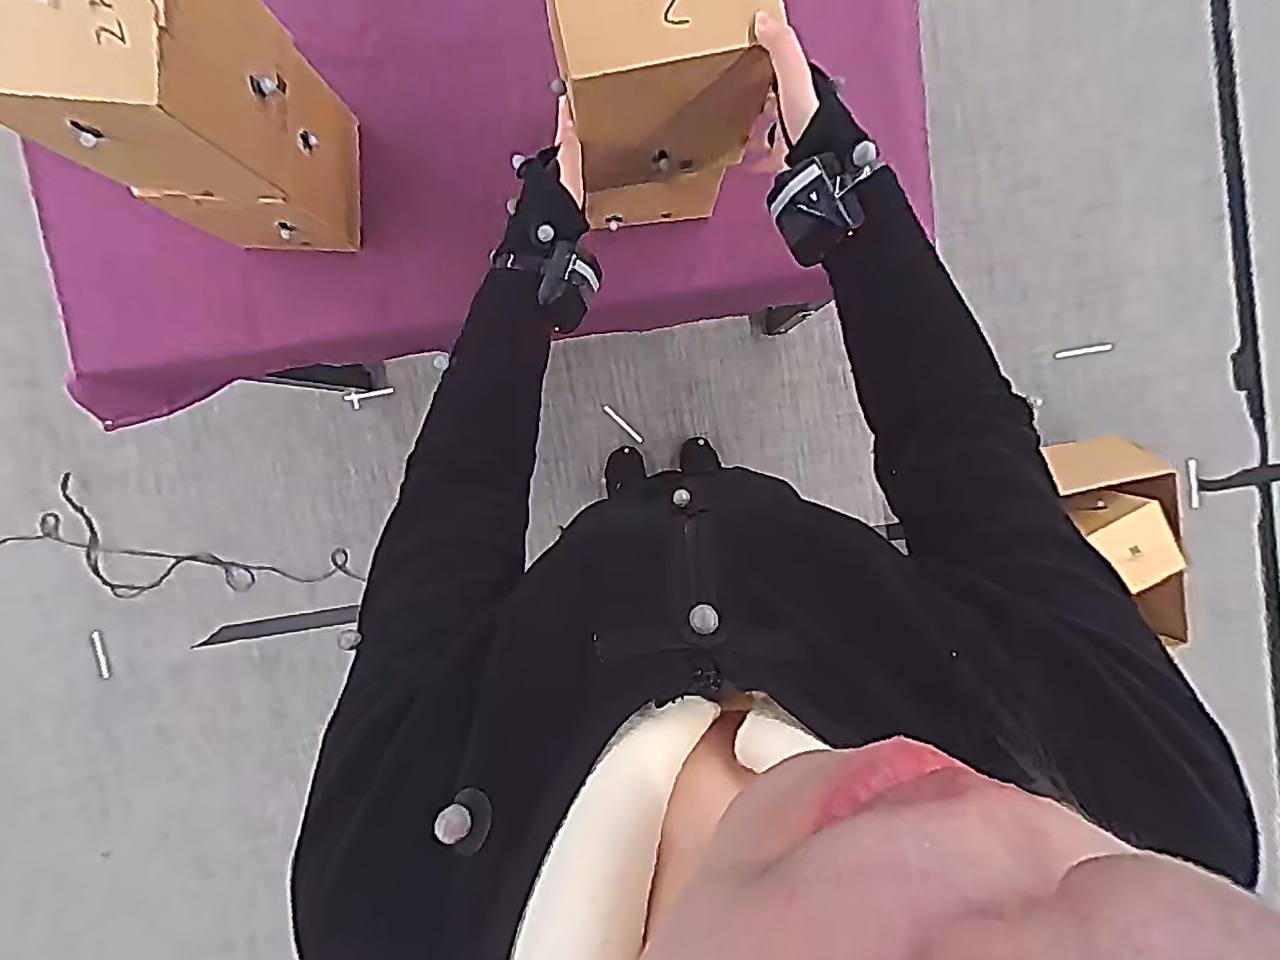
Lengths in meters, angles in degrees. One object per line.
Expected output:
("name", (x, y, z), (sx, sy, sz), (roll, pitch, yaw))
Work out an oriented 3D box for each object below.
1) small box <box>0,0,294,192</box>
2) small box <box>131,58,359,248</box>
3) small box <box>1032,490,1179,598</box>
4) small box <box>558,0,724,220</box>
("small box", (-0.453, -0.383, 0.488), (0.179, 0.176, 0.168), (3, 96, -2))
("small box", (-0.460, -0.395, 0.652), (0.168, 0.176, 0.179), (2, 95, -1))
("small box", (1.065, 0.137, 1.253), (0.168, 0.176, 0.179), (-31, 99, 5))
("small box", (0.003, -0.430, 0.648), (0.168, 0.176, 0.179), (-6, 94, 0))
